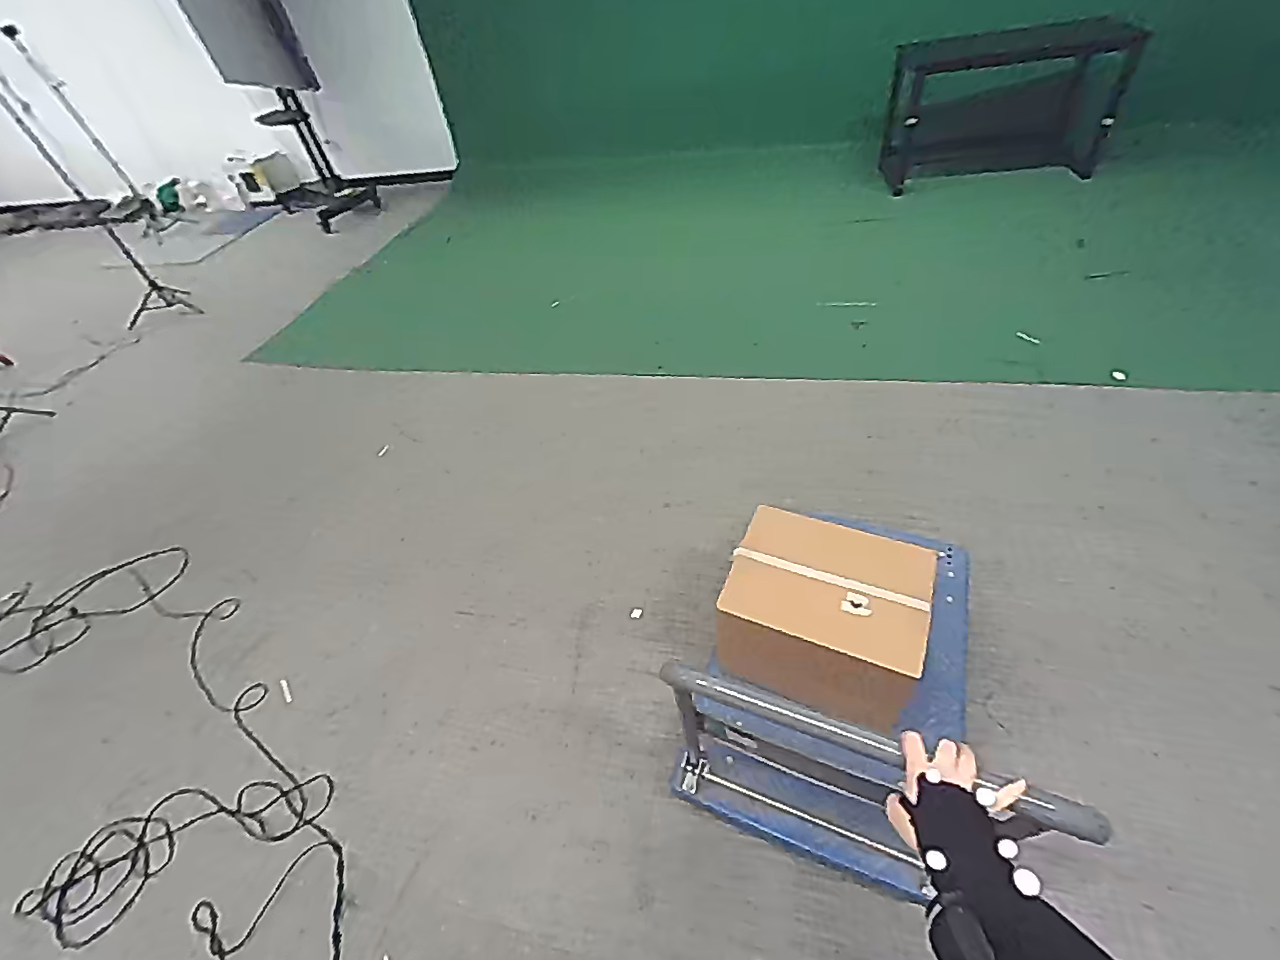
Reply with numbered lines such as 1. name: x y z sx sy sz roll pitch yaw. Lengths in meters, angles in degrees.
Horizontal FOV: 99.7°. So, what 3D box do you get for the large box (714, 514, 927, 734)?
1. large box: 0.412 0.334 1.291 0.408 0.320 0.320 15 51 21
